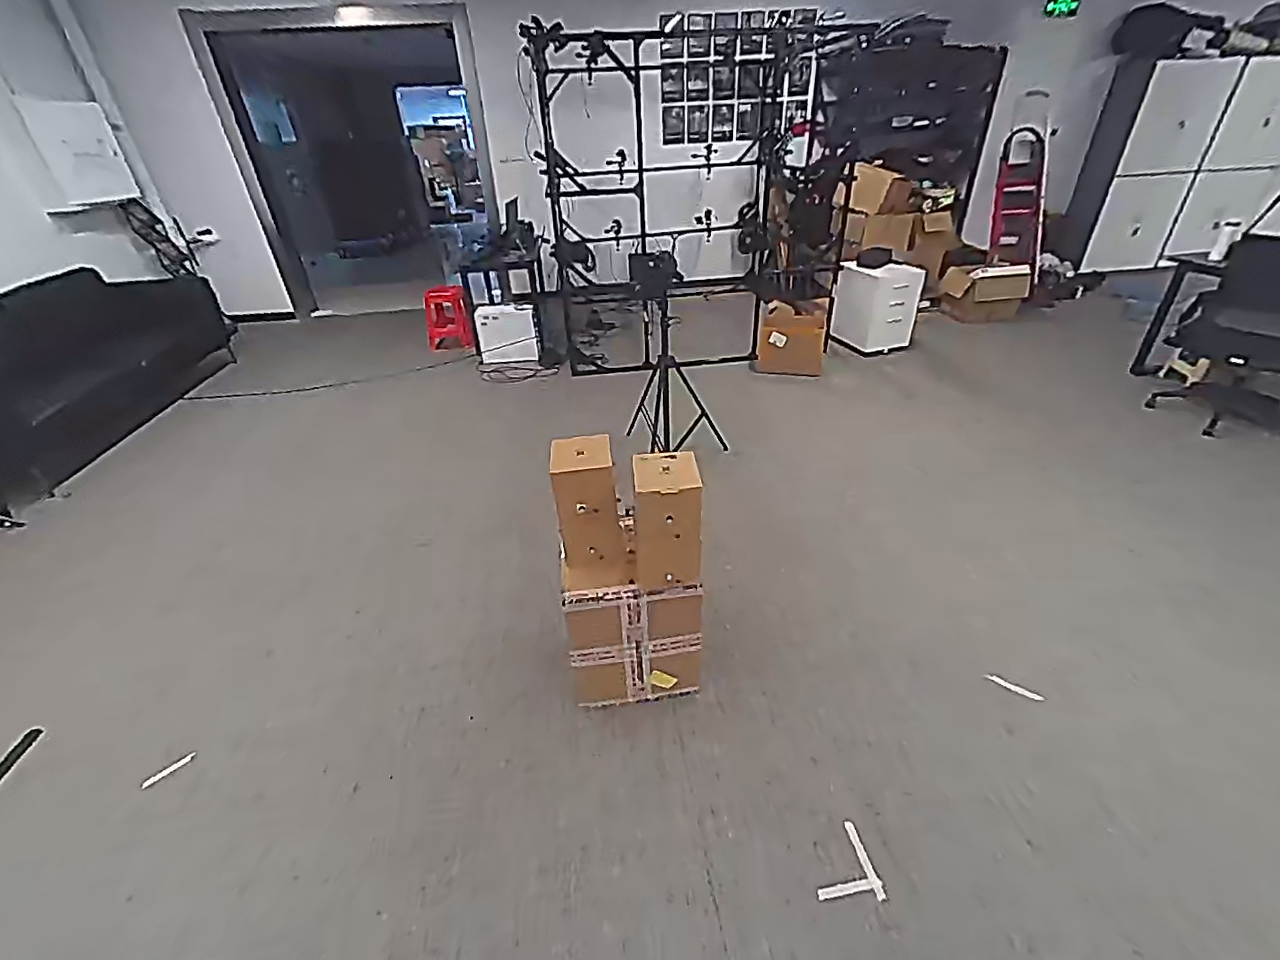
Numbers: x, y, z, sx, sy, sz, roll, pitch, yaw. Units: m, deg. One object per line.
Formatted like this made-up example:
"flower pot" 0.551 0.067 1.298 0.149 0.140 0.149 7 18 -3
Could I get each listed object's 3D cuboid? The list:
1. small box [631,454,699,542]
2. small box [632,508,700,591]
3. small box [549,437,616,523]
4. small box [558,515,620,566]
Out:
"small box" 0.063 0.051 1.424 0.168 0.176 0.179 -3 35 -2
"small box" 0.067 0.186 1.516 0.168 0.176 0.179 -5 35 -5
"small box" -0.159 -0.001 1.517 0.168 0.176 0.179 -7 35 -3
"small box" -0.151 0.133 1.609 0.168 0.176 0.179 -7 35 -3
